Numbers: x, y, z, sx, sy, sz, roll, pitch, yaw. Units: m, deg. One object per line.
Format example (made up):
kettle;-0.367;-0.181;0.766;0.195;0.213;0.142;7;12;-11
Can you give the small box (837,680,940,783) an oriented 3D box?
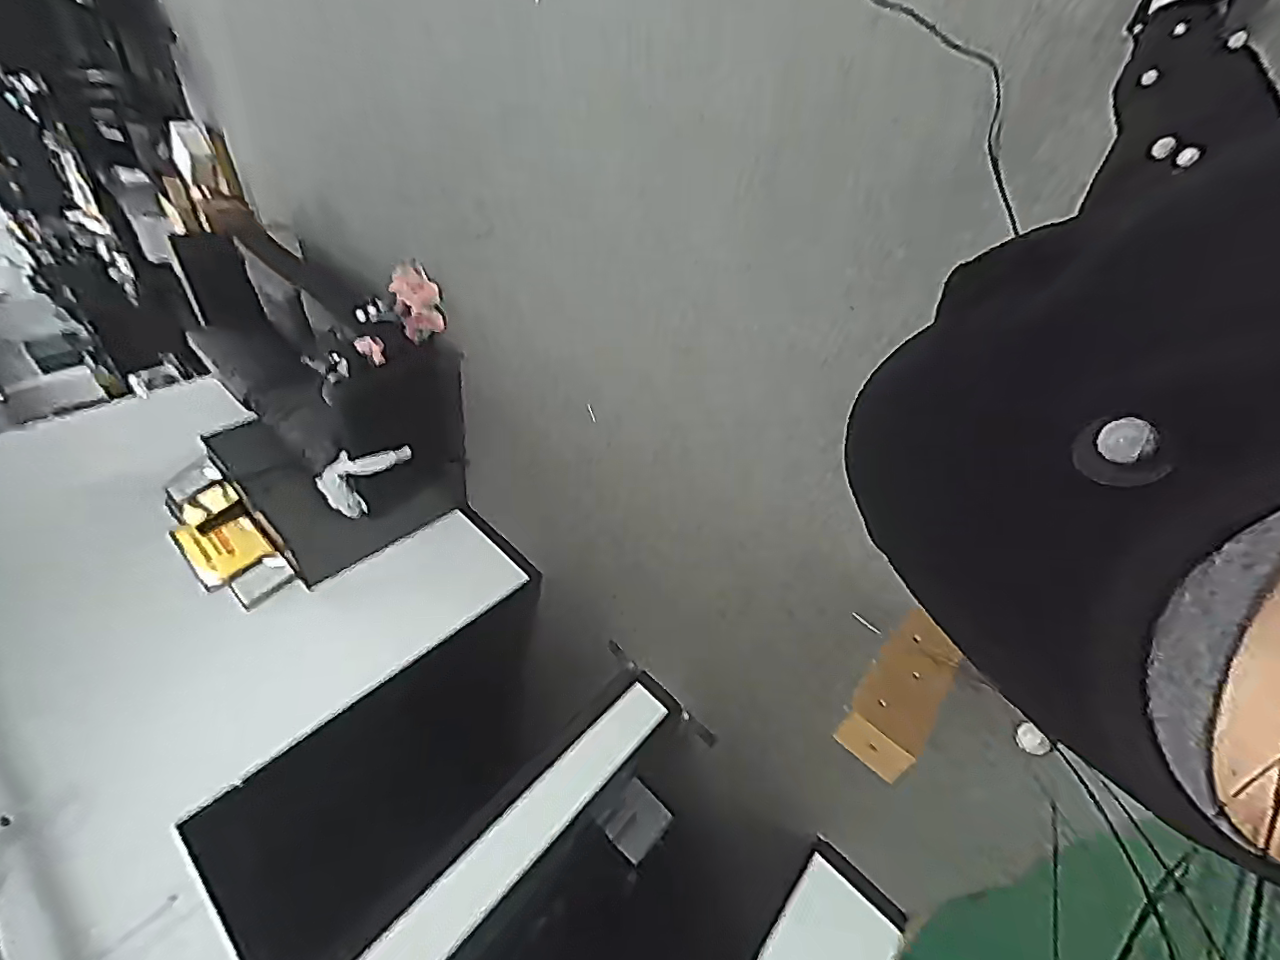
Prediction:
small box;0.690;0.688;1.501;0.179;0.176;0.168;36;138;24

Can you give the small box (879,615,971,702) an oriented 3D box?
small box;0.903;0.556;1.713;0.179;0.176;0.168;36;138;24
